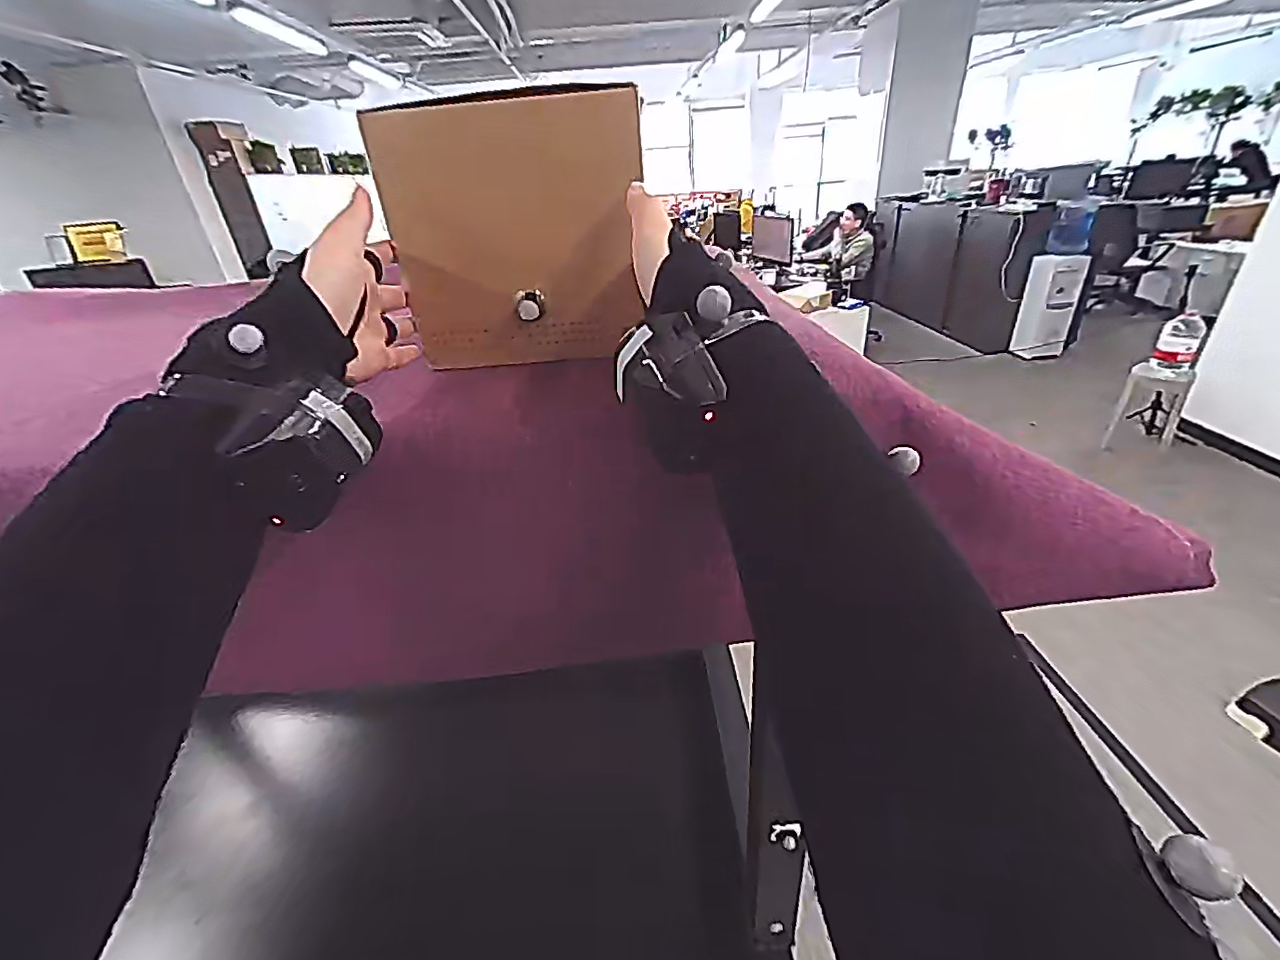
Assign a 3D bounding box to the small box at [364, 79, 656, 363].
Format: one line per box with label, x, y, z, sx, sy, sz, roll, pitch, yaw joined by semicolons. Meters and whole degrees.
small box;-0.076;-0.199;0.431;0.179;0.176;0.168;-3;28;2
